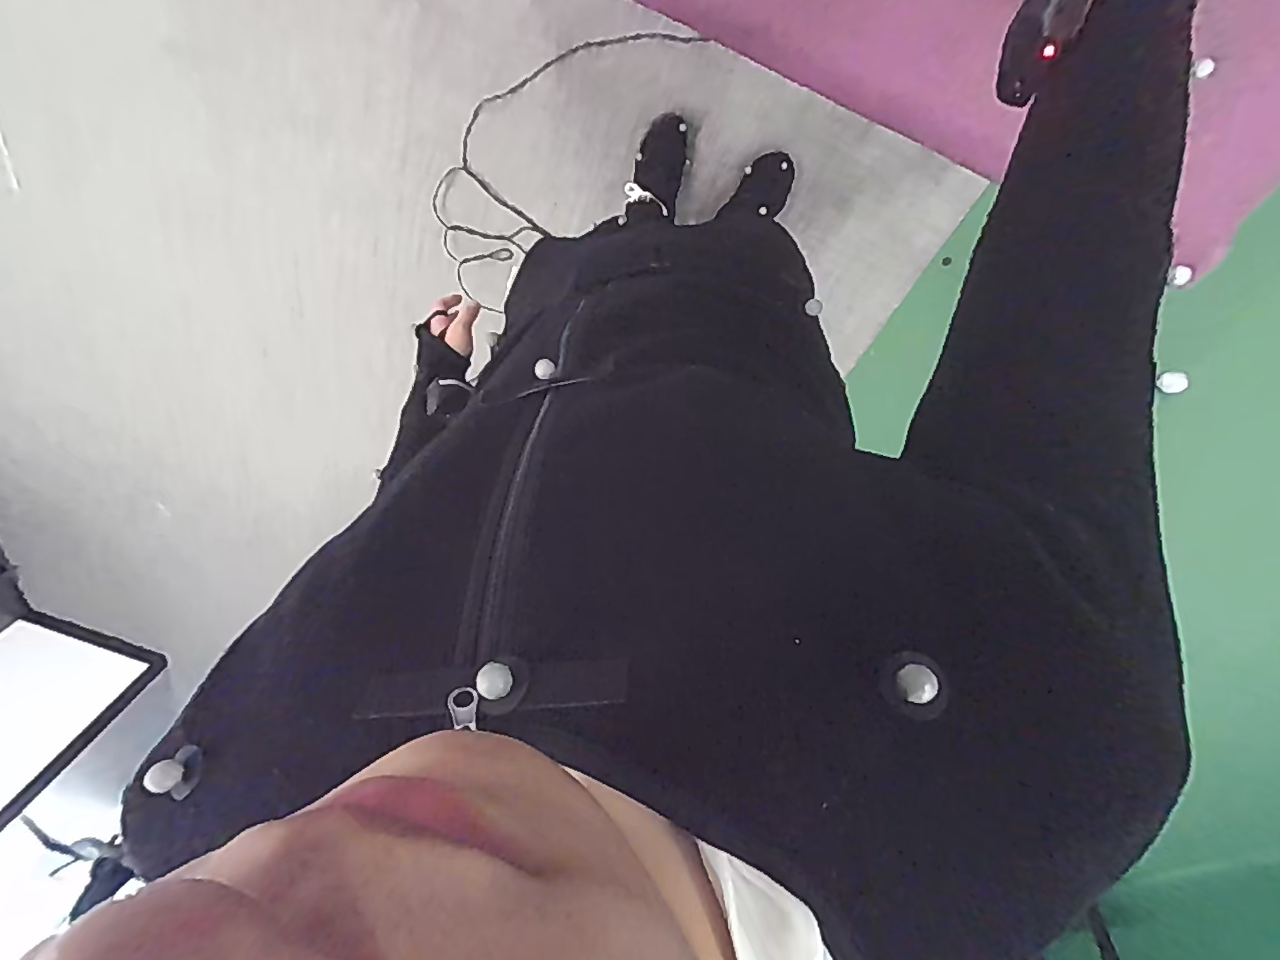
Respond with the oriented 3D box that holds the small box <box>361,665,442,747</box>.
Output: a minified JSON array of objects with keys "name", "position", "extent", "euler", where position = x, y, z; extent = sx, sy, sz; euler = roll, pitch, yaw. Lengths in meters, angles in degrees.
[{"name":"small box","position":[-0.780,0.741,1.781],"extent":[0.168,0.176,0.179],"euler":[31,127,-11]}]

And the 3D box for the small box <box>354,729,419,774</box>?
[{"name":"small box","position":[-0.887,0.906,1.929],"extent":[0.168,0.176,0.179],"euler":[25,125,-7]}]
